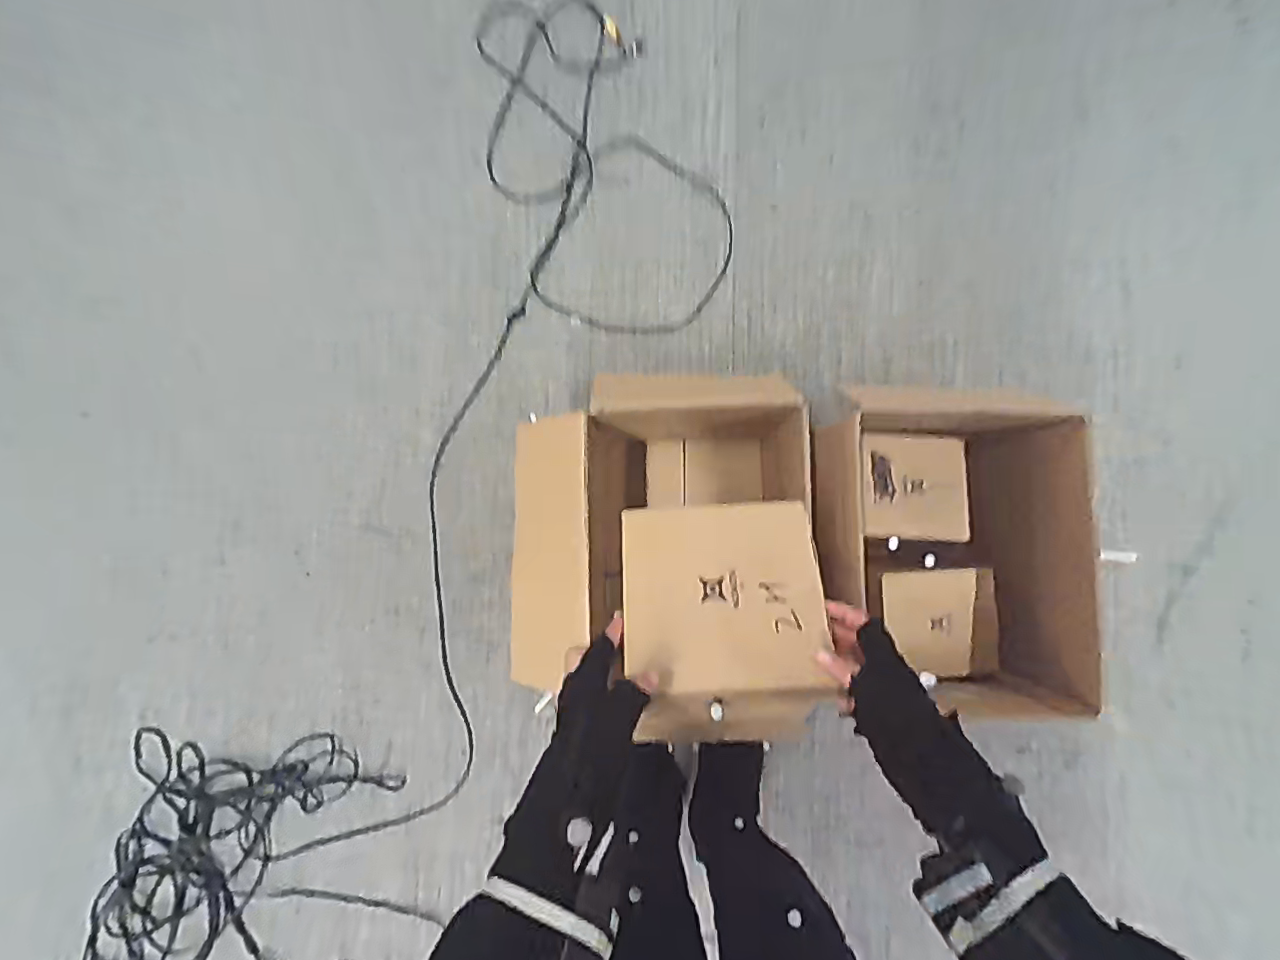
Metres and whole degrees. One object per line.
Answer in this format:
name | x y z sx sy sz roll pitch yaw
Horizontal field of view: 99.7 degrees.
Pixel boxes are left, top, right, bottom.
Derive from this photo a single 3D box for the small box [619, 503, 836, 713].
small box | 0.074 0.136 0.542 0.179 0.176 0.168 -3 61 1
